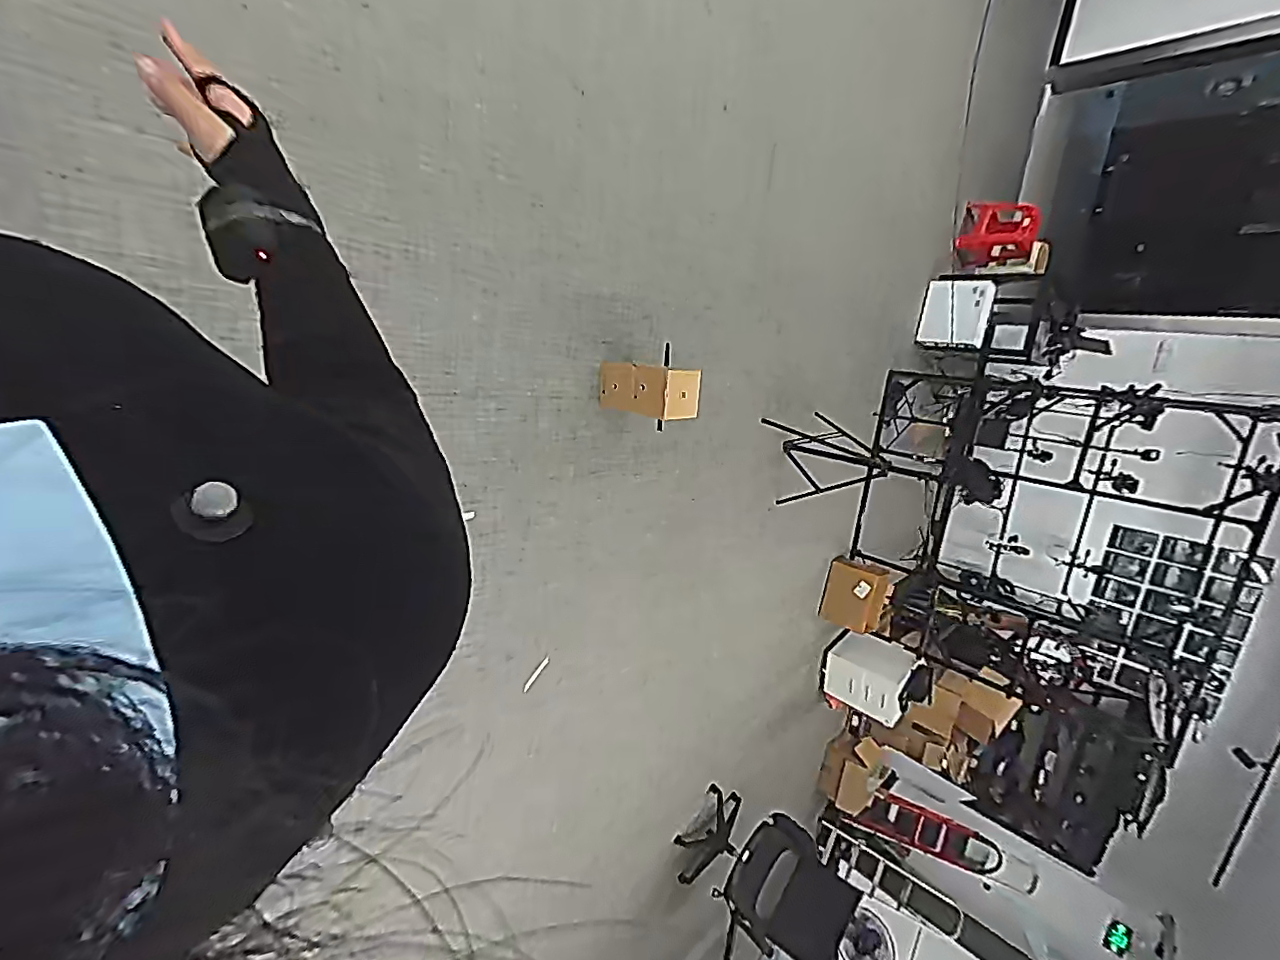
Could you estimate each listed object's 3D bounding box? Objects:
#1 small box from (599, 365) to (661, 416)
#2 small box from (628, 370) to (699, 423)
[{"bbox_3d":[-0.036,-0.333,1.997,0.179,0.176,0.168,-12,113,-45],"label":"small box"},{"bbox_3d":[0.081,-0.295,1.890,0.179,0.176,0.168,-10,110,-44],"label":"small box"}]
